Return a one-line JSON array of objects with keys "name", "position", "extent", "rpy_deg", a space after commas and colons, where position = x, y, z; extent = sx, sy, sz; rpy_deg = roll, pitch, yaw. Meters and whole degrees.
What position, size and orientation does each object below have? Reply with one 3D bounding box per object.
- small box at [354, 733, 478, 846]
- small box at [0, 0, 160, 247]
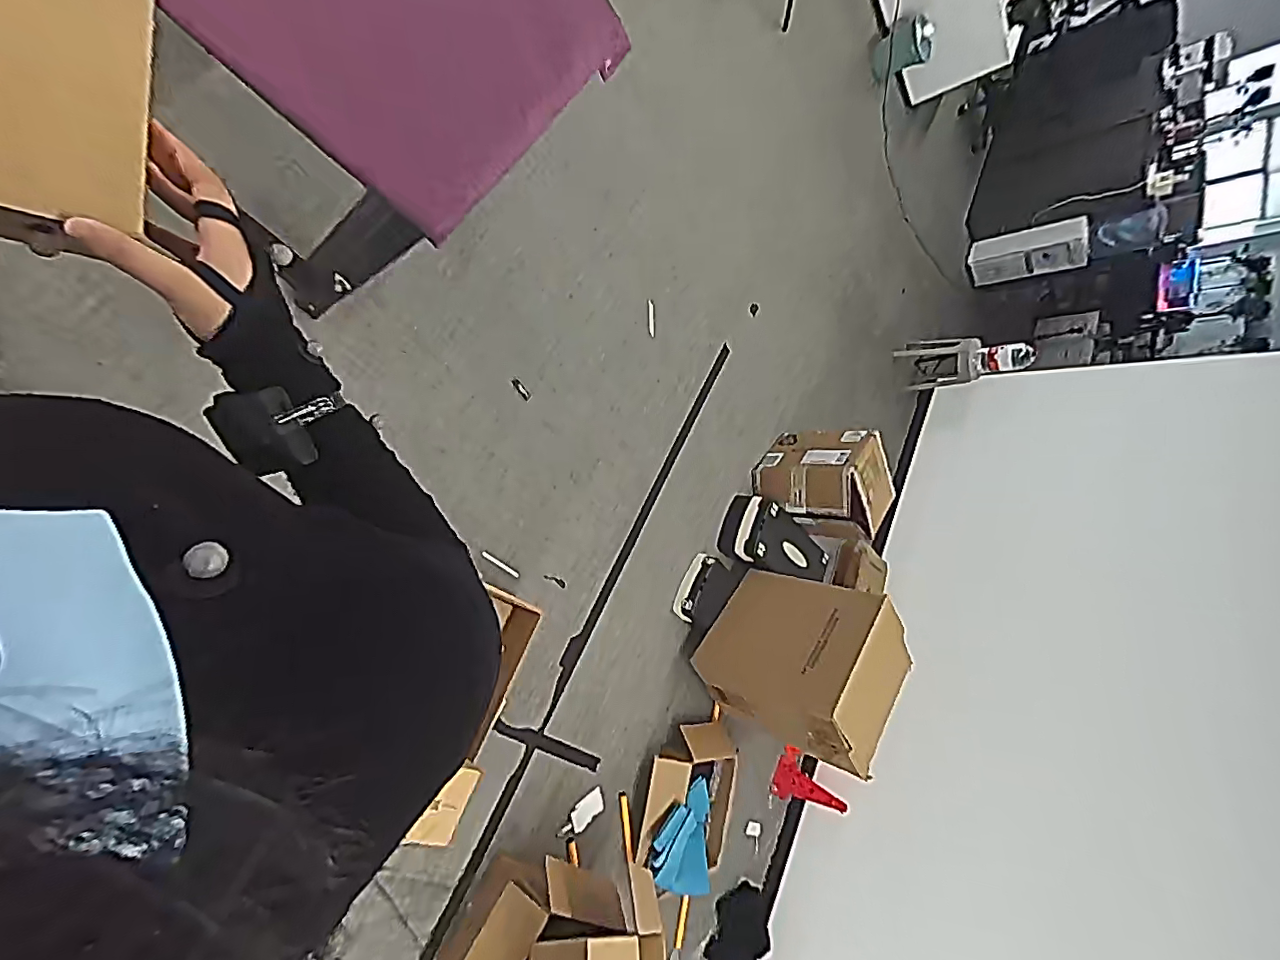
[{"name": "small box", "position": [-0.517, 0.703, 1.241], "extent": [0.179, 0.176, 0.168], "rpy_deg": [40, 66, -39]}, {"name": "small box", "position": [-0.419, -0.255, 0.329], "extent": [0.179, 0.176, 0.168], "rpy_deg": [3, 98, -44]}]
